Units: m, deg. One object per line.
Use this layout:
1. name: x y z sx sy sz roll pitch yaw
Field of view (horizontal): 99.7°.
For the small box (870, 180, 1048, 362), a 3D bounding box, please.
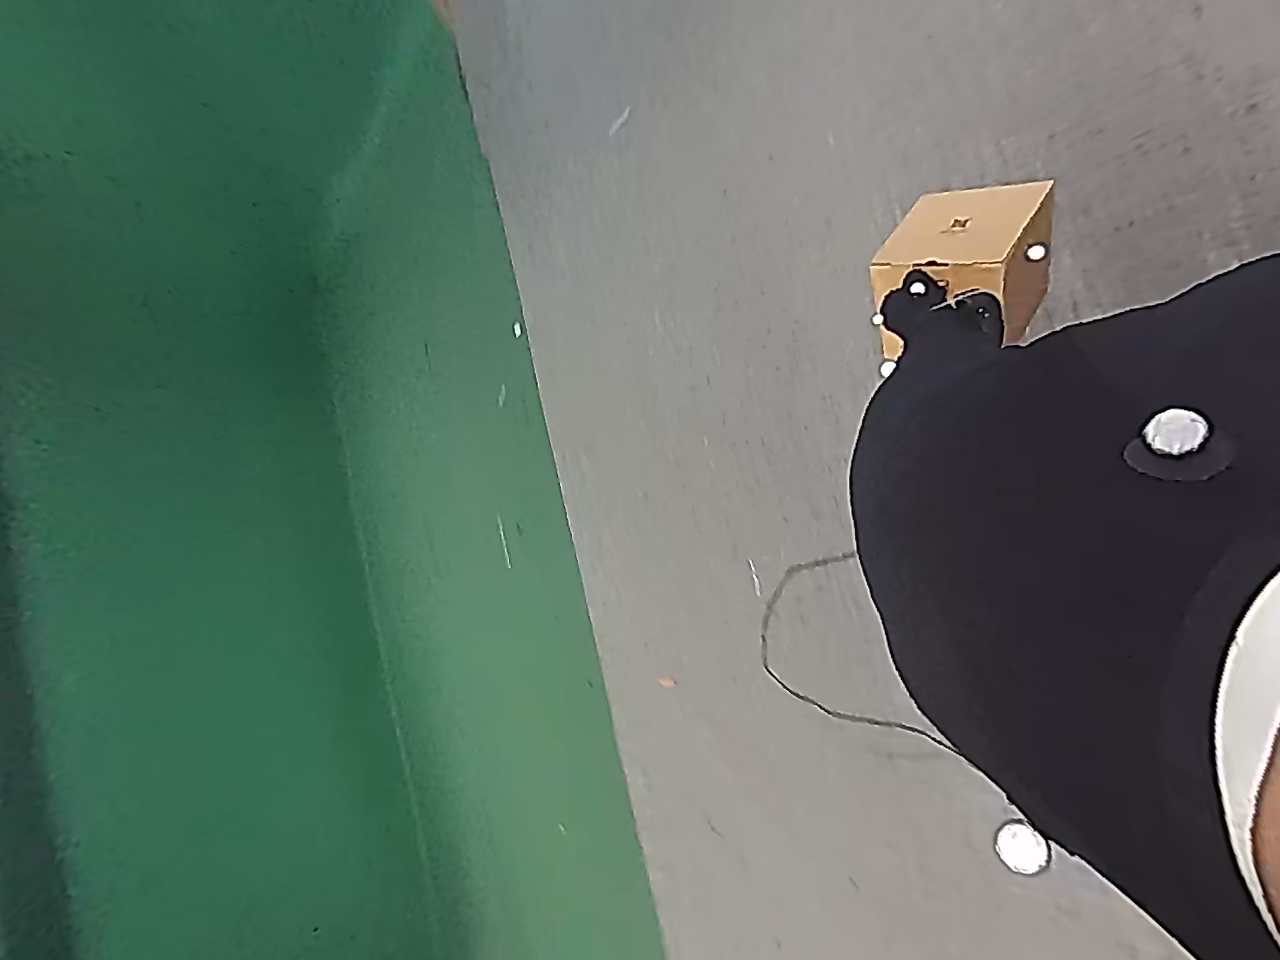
1. small box: 0.459 -0.298 0.783 0.168 0.179 0.176 19 154 43
